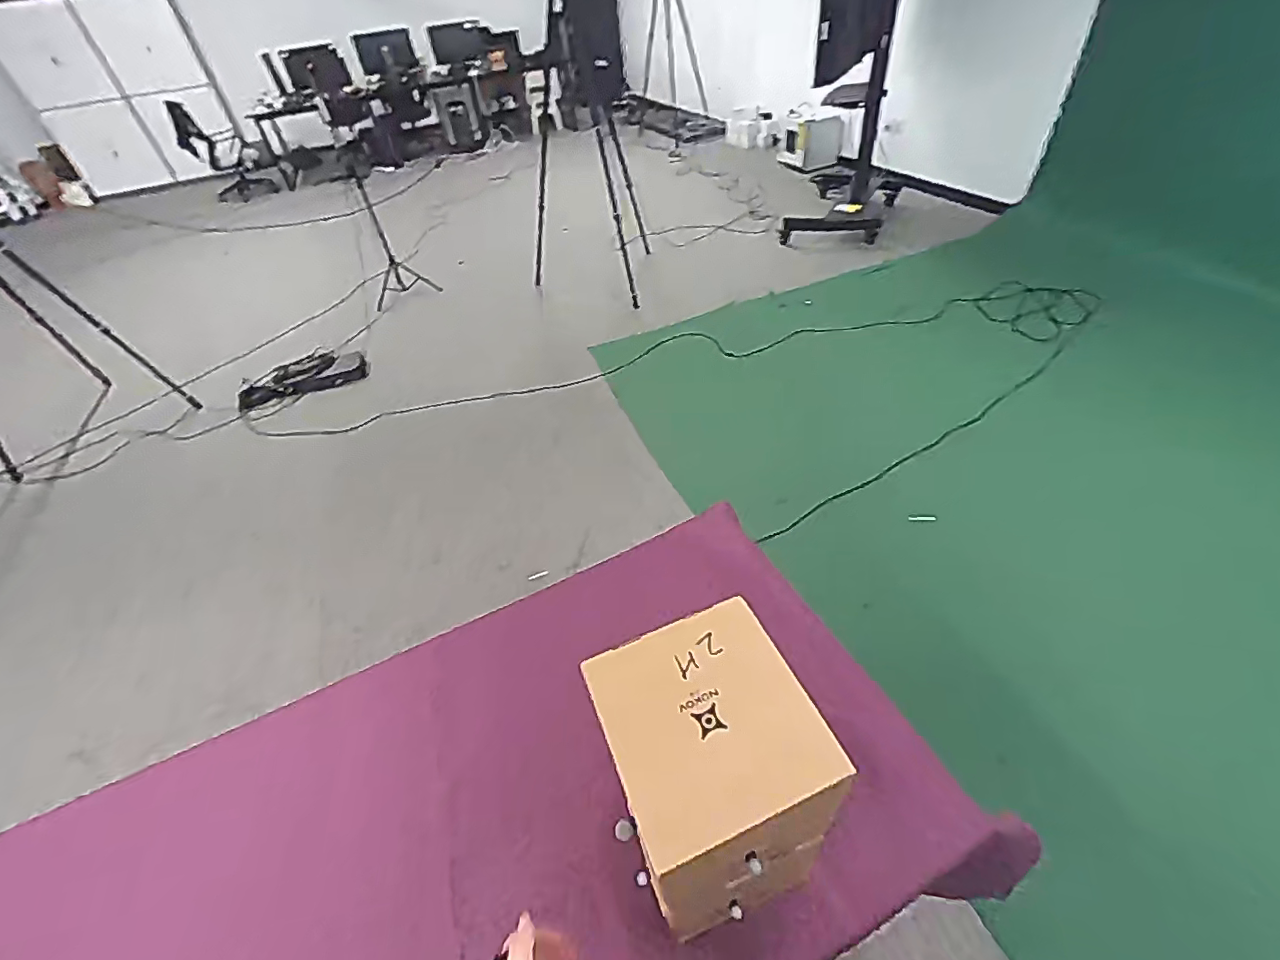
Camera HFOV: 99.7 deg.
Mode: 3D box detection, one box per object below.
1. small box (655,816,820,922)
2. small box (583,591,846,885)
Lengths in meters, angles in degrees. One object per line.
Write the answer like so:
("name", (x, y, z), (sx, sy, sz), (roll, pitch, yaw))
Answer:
("small box", (0.078, 0.362, 0.621), (0.168, 0.176, 0.179), (-19, 45, -11))
("small box", (0.062, 0.244, 0.506), (0.168, 0.176, 0.179), (-19, 44, -12))
